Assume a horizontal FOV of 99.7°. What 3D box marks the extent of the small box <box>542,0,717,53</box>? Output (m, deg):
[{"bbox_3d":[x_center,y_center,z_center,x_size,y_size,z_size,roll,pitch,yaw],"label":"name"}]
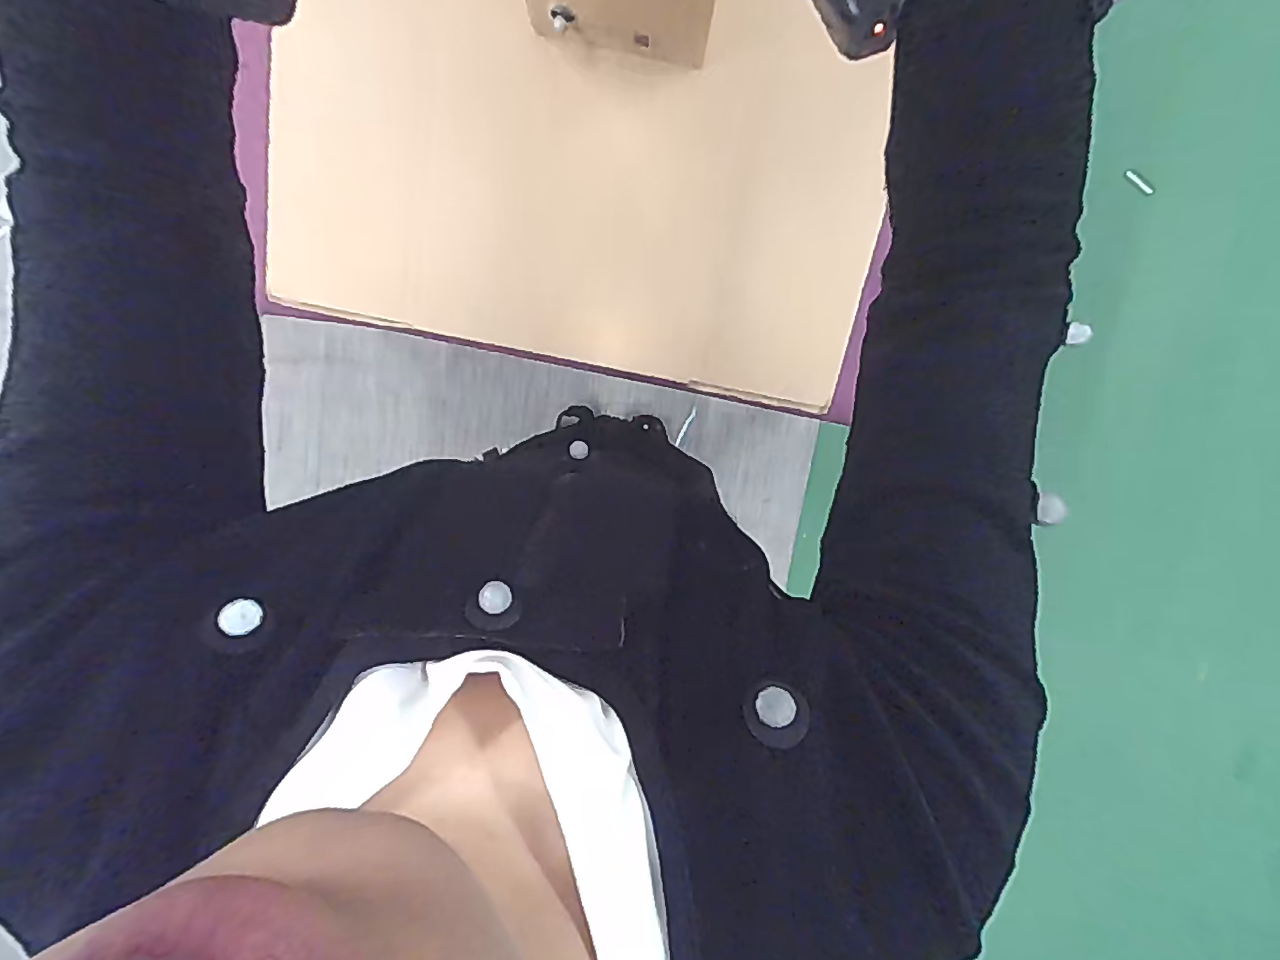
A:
[{"bbox_3d":[-0.002,-0.486,0.419,0.168,0.176,0.179,11,95,-2],"label":"small box"}]
